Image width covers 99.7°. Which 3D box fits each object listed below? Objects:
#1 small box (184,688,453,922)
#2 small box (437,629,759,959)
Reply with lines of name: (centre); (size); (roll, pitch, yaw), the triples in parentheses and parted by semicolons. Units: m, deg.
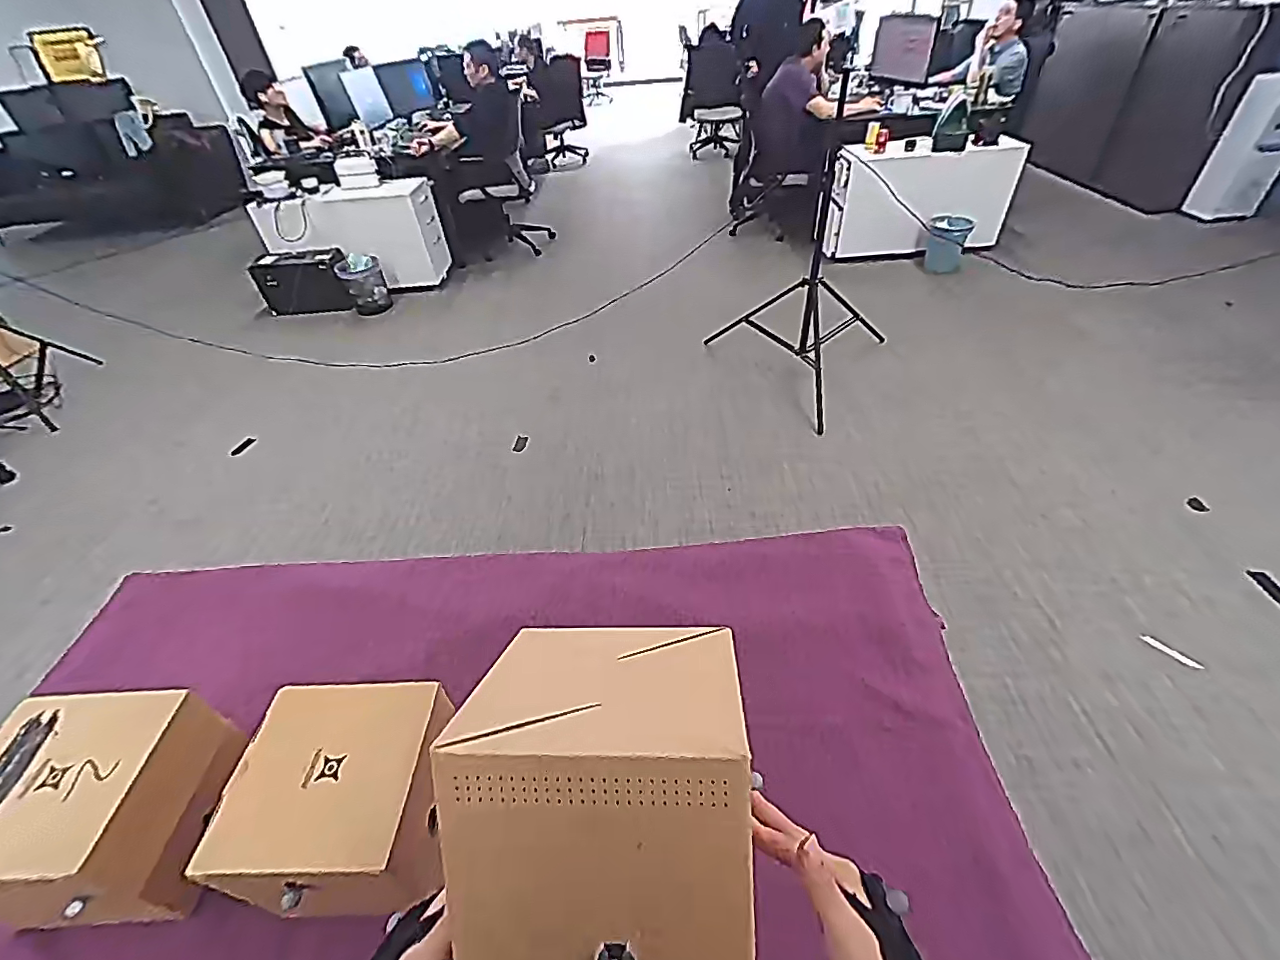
small box: (-0.286, 0.332, 0.554); (0.179, 0.176, 0.168); (-3, 41, 3)
small box: (-0.017, 0.212, 0.373); (0.179, 0.176, 0.168); (-2, 7, 6)
